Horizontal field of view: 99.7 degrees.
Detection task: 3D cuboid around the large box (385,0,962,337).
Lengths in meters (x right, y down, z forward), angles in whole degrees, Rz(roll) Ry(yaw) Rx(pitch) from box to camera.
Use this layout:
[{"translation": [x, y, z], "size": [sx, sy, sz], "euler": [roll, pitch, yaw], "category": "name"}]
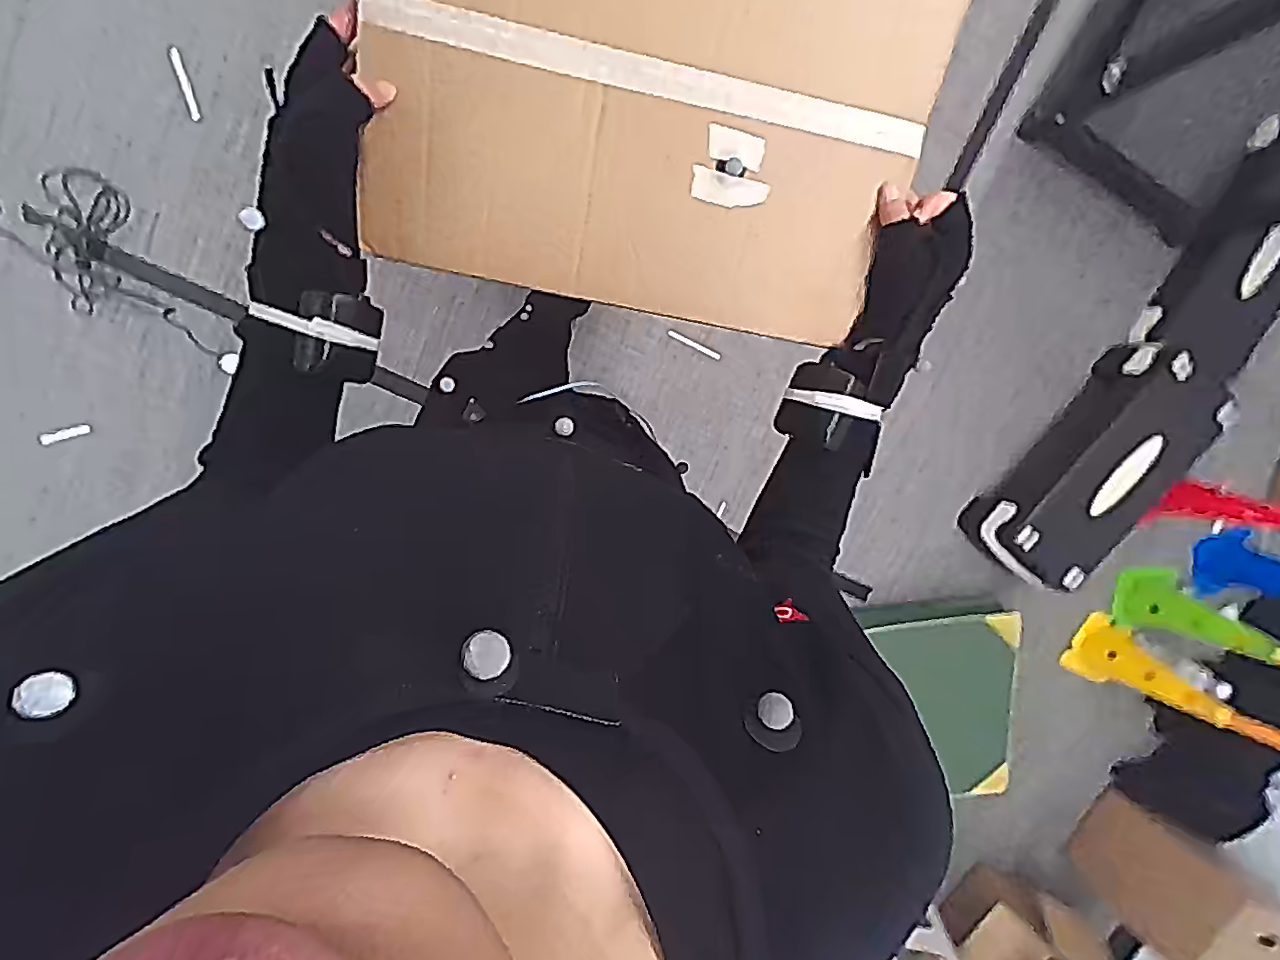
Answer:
[{"translation": [0.009, -0.348, 0.534], "size": [0.408, 0.320, 0.320], "euler": [9, 112, -7], "category": "large box"}]
